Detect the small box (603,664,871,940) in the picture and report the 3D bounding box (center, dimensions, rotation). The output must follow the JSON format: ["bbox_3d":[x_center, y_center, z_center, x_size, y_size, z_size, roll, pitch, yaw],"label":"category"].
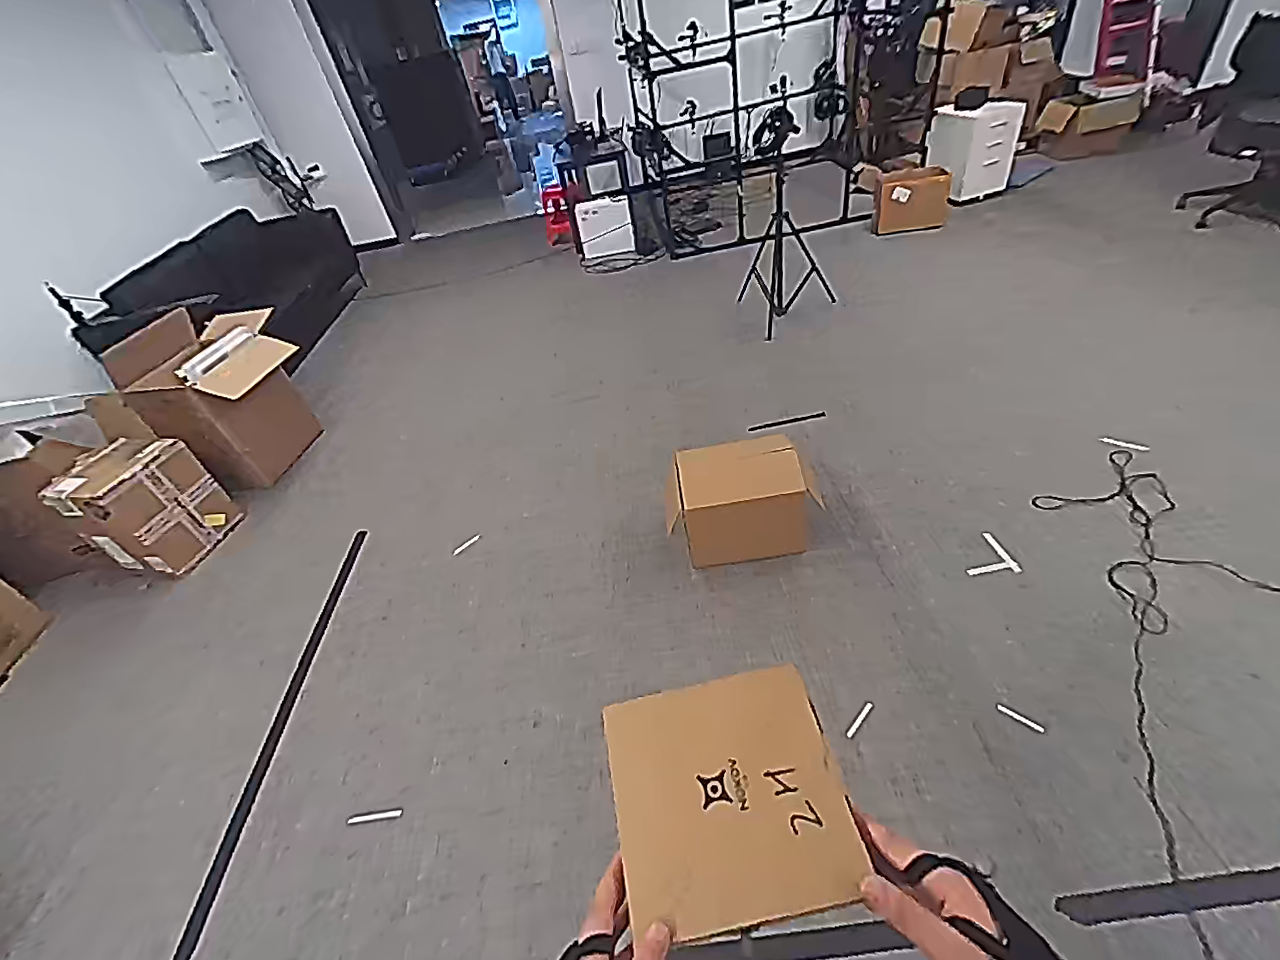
[{"bbox_3d":[0.076,0.290,0.483,0.179,0.176,0.168,-13,50,0],"label":"small box"}]
